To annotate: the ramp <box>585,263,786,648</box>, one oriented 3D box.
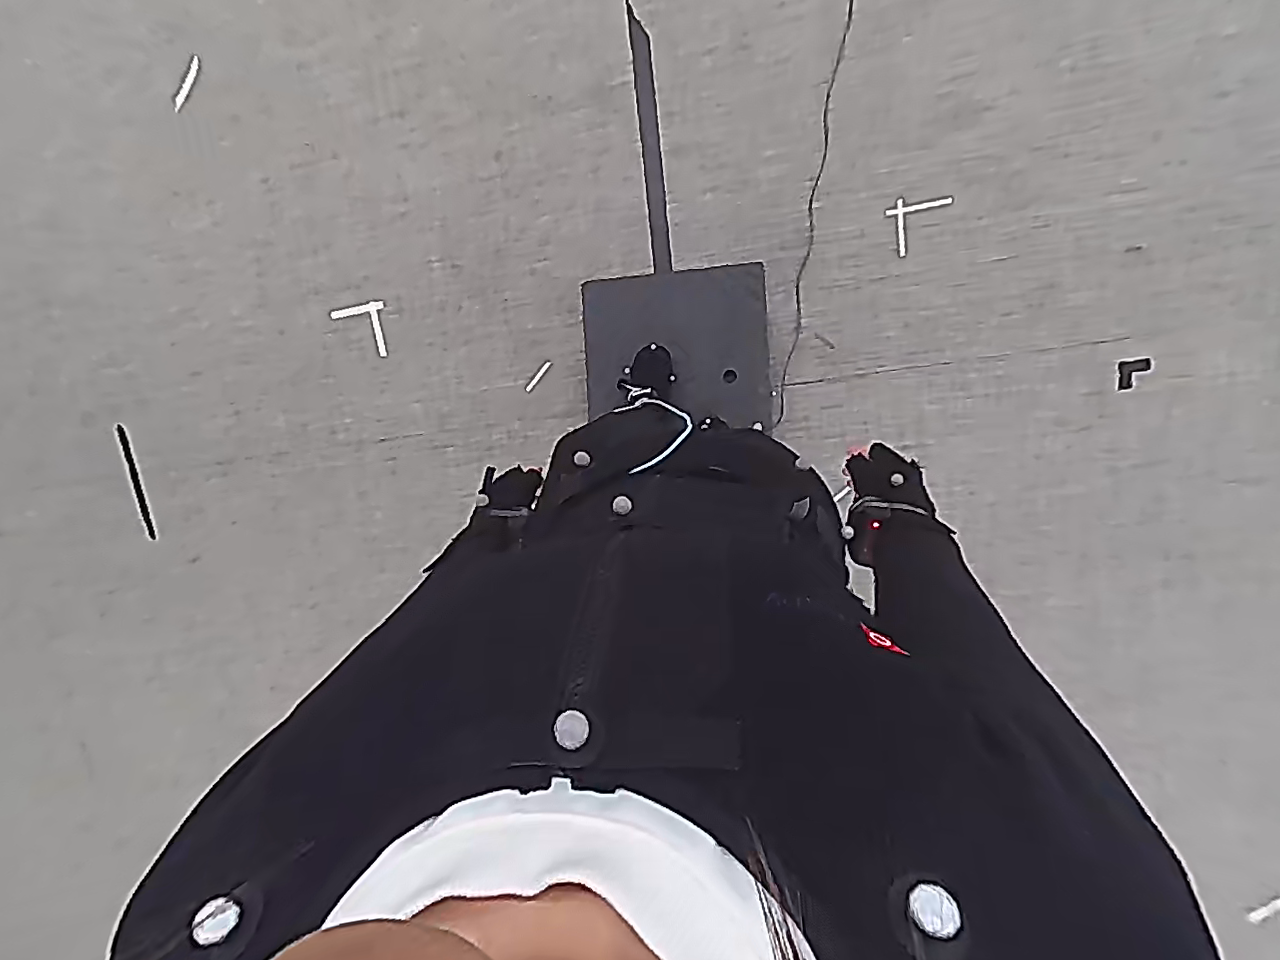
[{"bbox_3d":[0.110,-0.056,1.442,0.509,0.206,0.991,-5,99,11],"label":"ramp"}]
